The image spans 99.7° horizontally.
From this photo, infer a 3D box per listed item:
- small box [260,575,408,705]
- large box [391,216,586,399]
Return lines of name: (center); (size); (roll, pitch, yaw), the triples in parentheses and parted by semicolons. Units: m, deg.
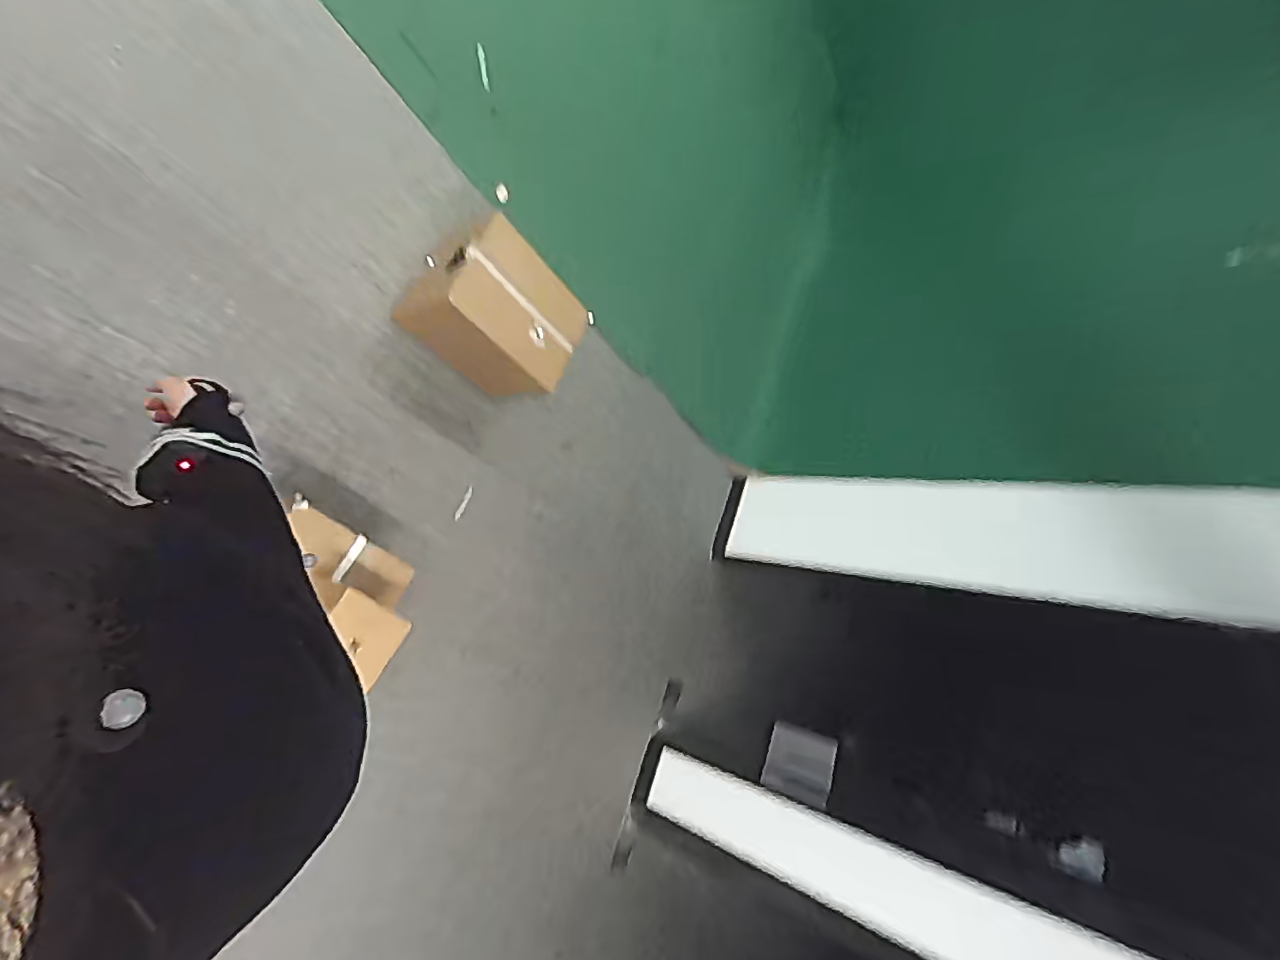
small box: (-0.613, 0.313, 1.078); (0.168, 0.176, 0.179); (55, 52, -40)
large box: (-0.441, -0.489, 1.620); (0.408, 0.320, 0.320); (43, 60, -44)
